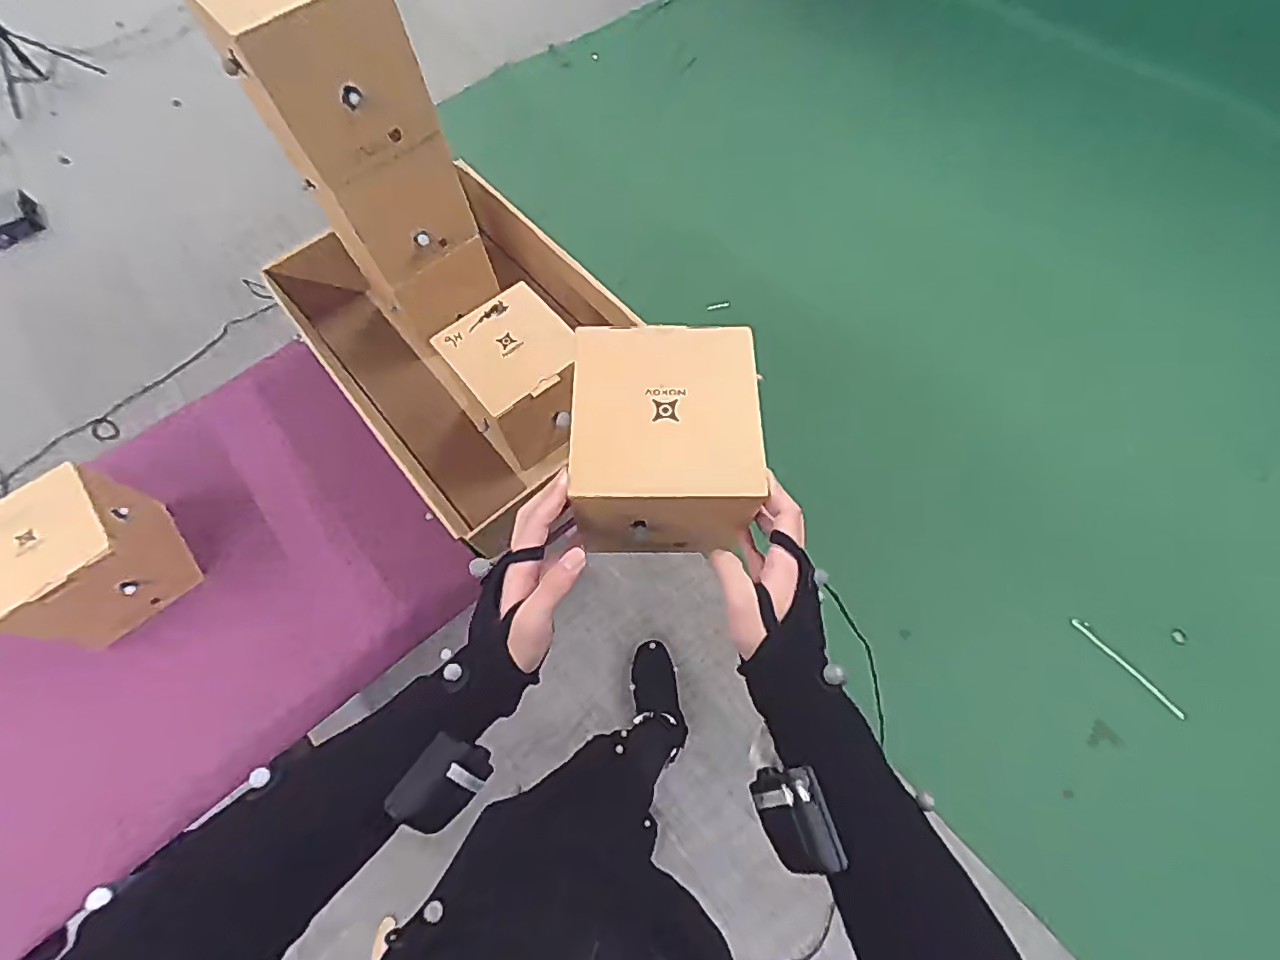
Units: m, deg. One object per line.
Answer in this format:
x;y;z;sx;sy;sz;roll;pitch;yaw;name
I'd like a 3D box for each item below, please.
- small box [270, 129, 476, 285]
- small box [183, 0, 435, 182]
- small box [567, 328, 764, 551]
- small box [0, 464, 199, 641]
-0.369;-0.419;0.776;0.168;0.176;0.179;-40;72;-14;small box
-0.370;-0.482;0.623;0.168;0.176;0.179;-39;71;-14;small box
0.023;-0.031;0.547;0.168;0.176;0.179;0;66;0;small box
-0.802;0.115;0.786;0.168;0.176;0.179;-38;70;-15;small box
